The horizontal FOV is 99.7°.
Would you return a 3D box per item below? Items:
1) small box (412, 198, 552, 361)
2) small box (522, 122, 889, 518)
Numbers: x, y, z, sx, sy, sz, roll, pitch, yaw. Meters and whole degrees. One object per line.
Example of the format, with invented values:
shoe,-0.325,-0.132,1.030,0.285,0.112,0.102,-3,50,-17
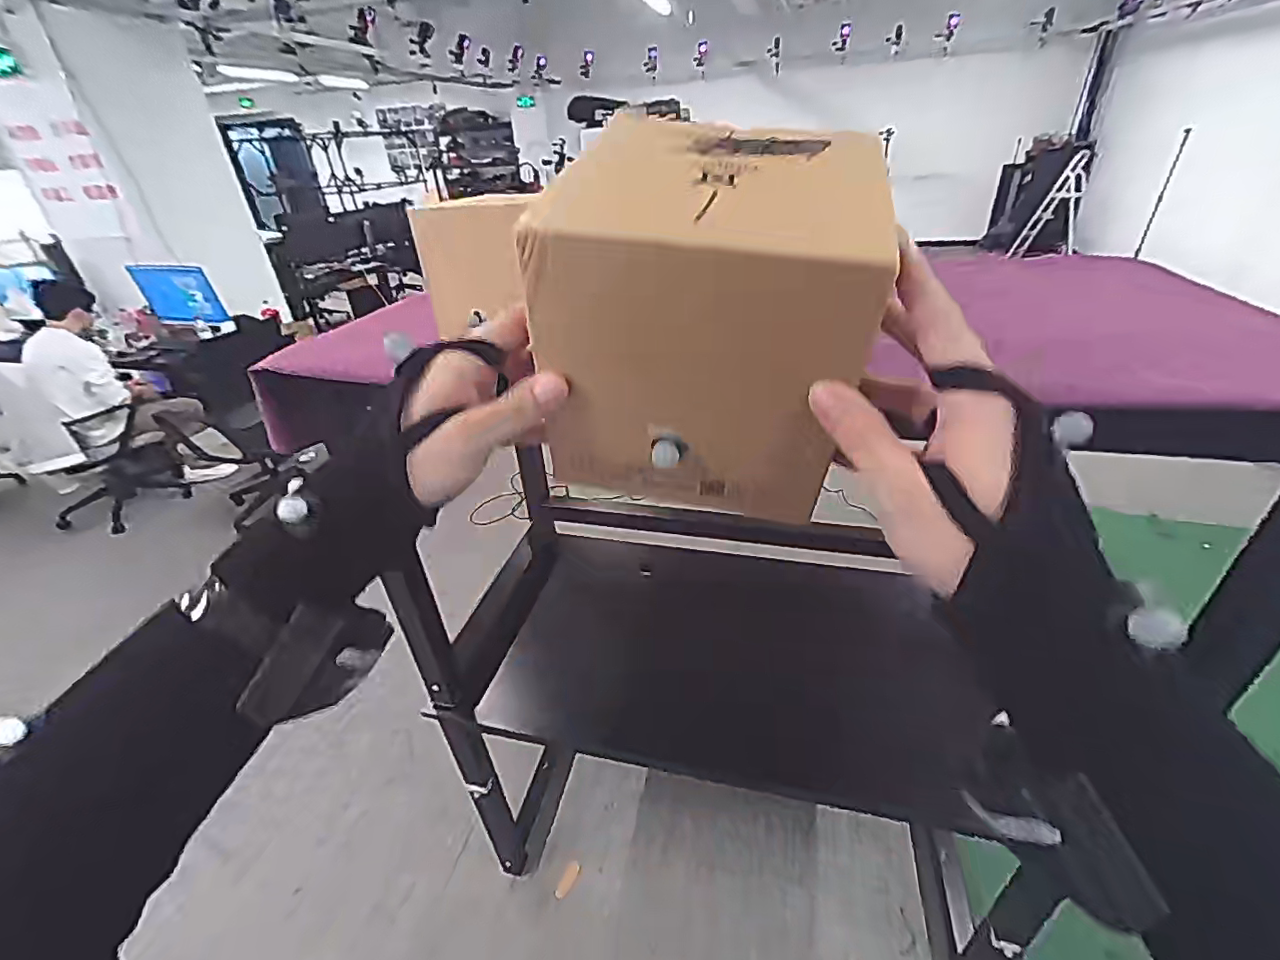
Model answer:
small box,-0.156,-0.266,0.702,0.168,0.176,0.179,6,33,17
small box,0.044,-0.104,0.345,0.168,0.176,0.179,10,48,10
